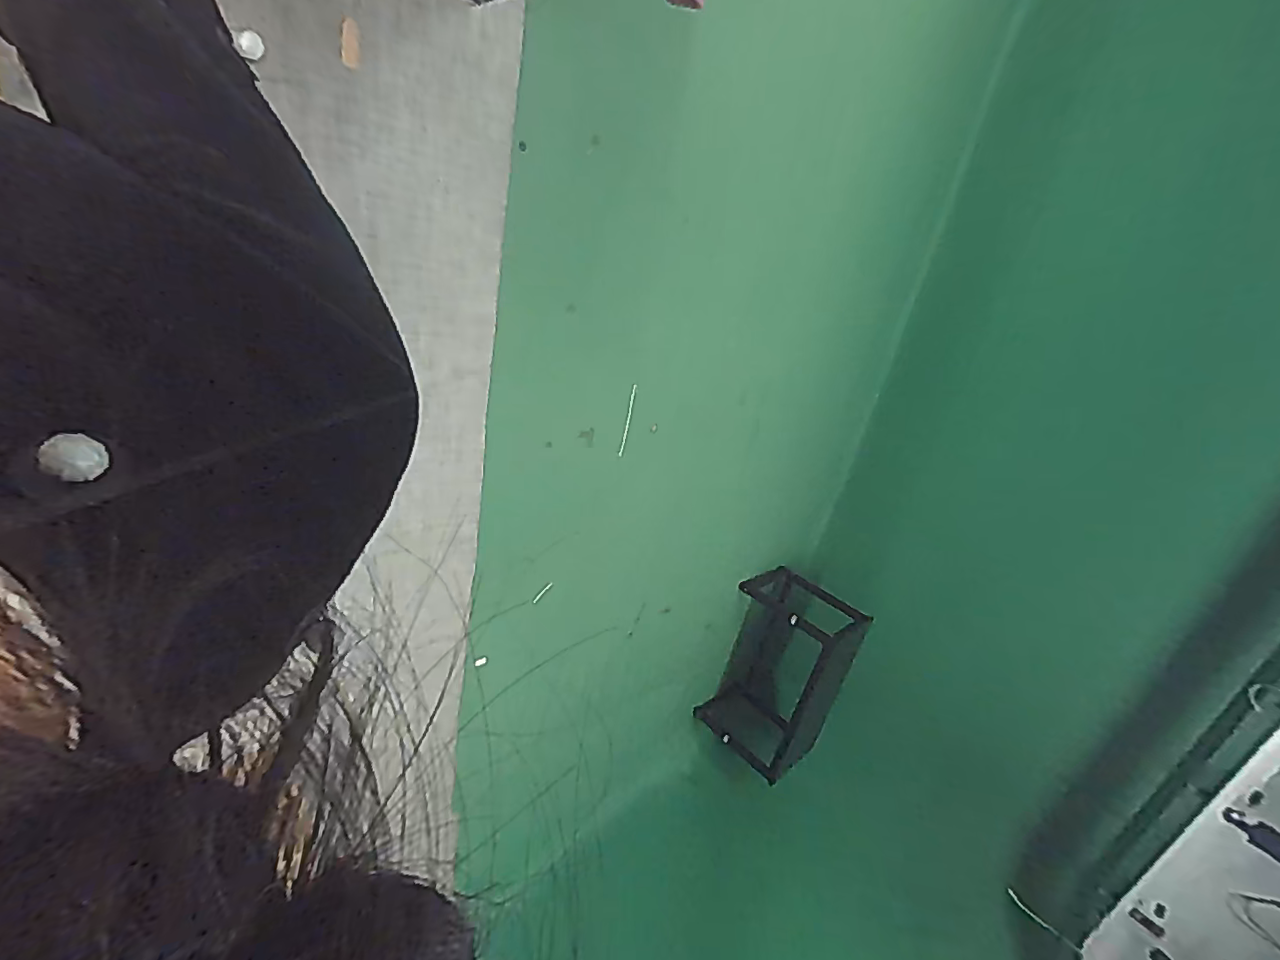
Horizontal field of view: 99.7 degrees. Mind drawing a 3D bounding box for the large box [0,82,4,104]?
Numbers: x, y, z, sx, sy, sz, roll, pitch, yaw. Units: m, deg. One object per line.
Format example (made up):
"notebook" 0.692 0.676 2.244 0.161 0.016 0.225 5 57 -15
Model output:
"large box" -1.069 -0.638 0.600 0.408 0.320 0.320 -20 128 -40
